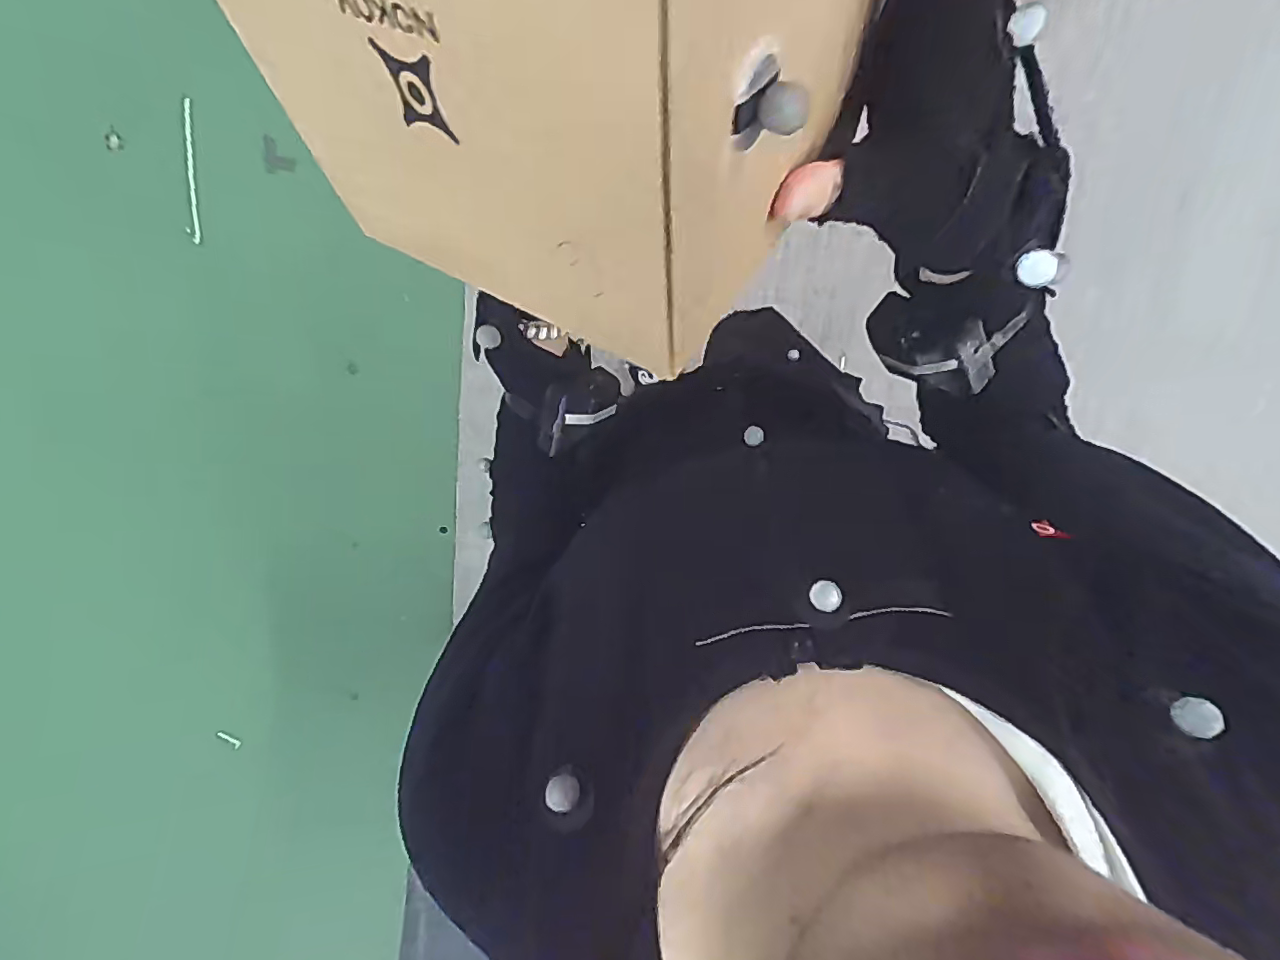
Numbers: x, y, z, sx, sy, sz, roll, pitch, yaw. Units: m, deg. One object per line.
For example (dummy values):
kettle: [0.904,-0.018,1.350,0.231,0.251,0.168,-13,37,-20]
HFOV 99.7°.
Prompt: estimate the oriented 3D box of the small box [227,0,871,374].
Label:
small box: [-0.021,-0.177,0.184,0.168,0.179,0.176,30,68,18]
